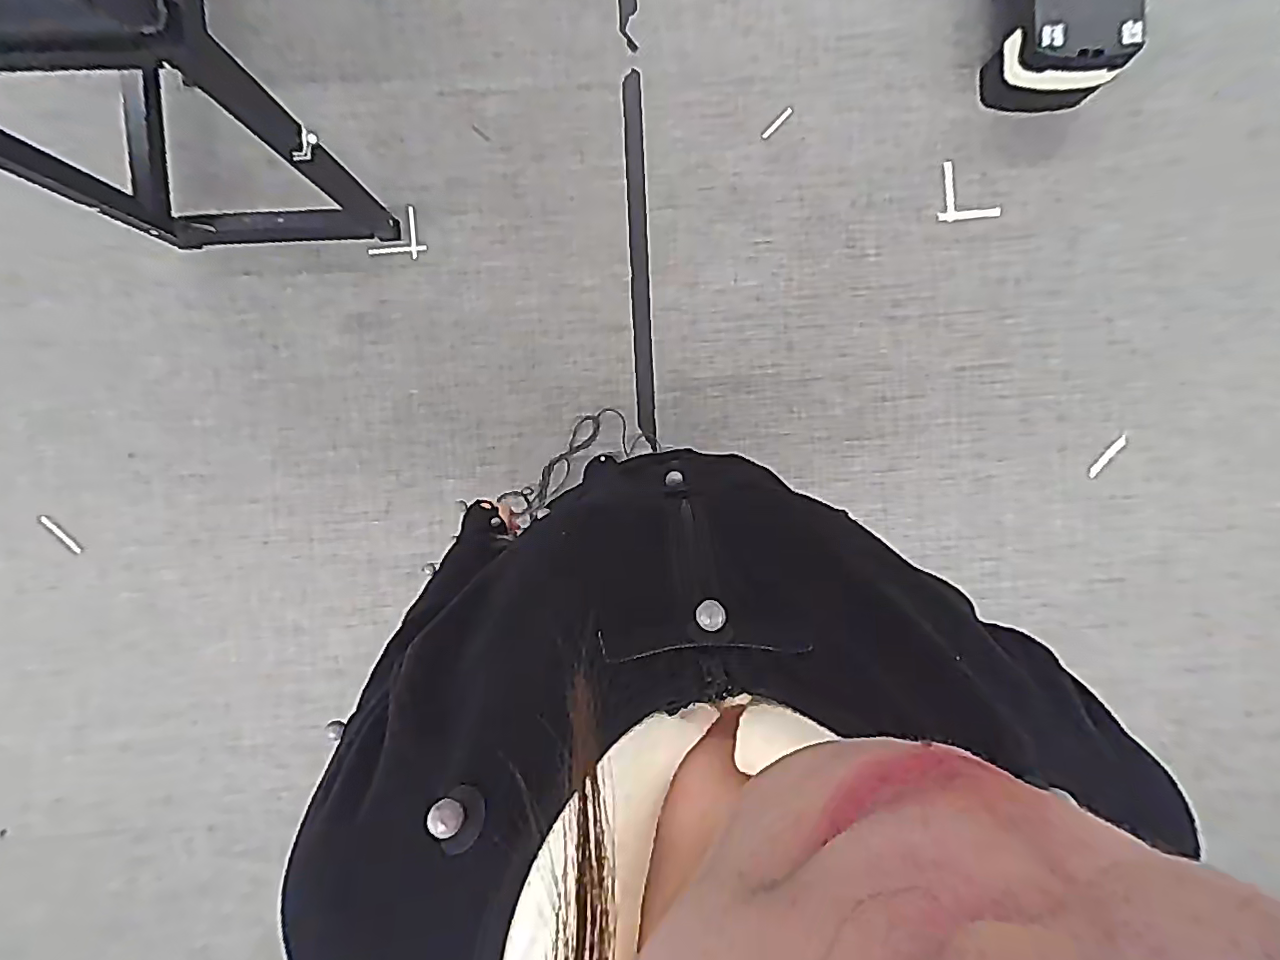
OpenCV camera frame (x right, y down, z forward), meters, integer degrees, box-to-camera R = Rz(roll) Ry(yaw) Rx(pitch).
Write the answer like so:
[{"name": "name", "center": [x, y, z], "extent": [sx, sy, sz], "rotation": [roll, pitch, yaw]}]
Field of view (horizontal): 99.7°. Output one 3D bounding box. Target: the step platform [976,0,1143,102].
[{"name": "step platform", "center": [1.059, -1.354, 1.342], "extent": [0.286, 0.204, 0.684], "rotation": [3, 92, -1]}]
